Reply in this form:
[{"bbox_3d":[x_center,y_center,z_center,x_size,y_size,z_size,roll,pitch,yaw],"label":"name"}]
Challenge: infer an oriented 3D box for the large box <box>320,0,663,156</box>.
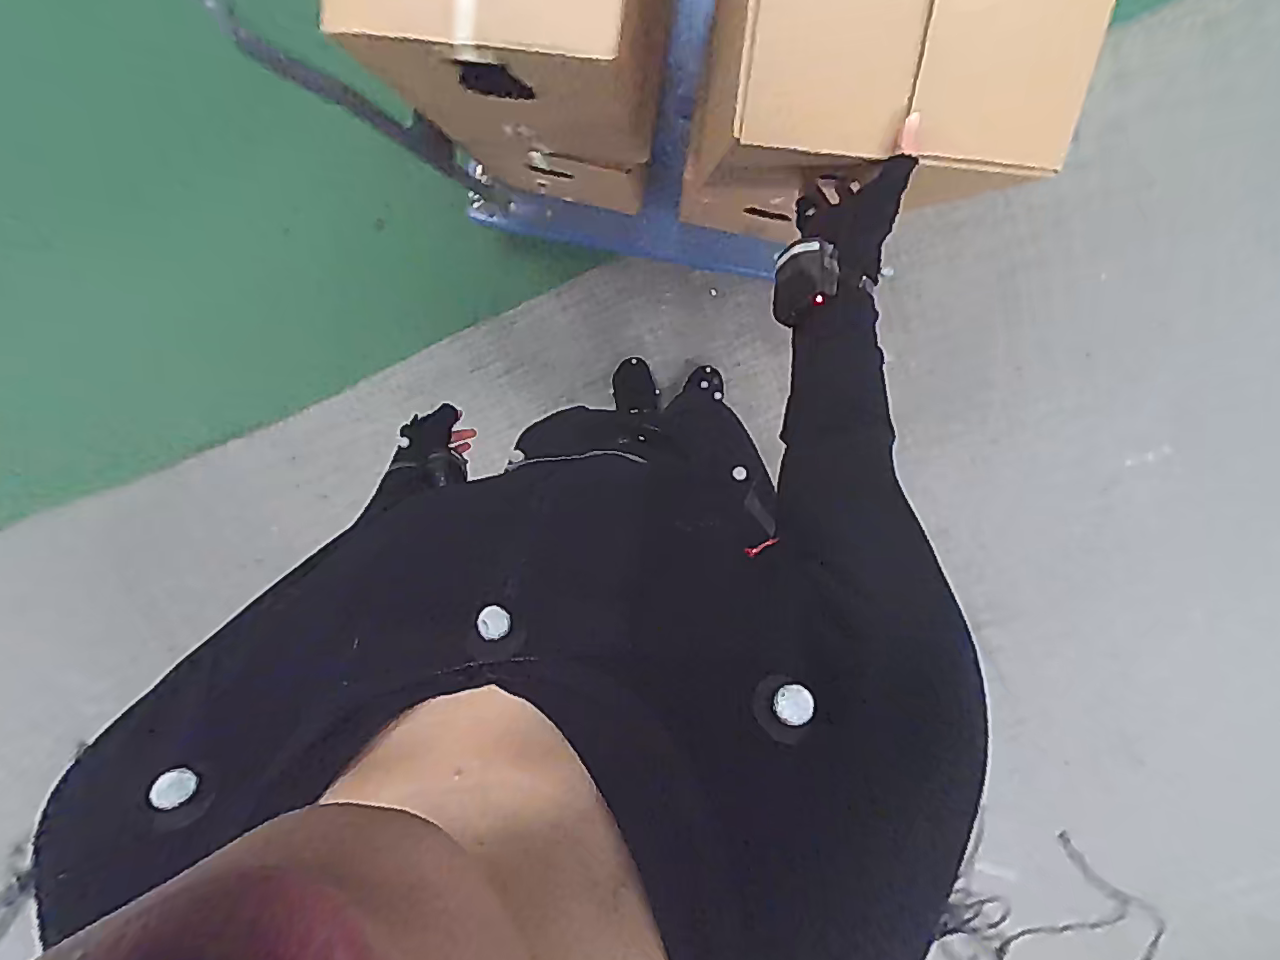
[{"bbox_3d":[-0.137,-0.664,0.641,0.320,0.320,0.408,9,104,5],"label":"large box"}]
